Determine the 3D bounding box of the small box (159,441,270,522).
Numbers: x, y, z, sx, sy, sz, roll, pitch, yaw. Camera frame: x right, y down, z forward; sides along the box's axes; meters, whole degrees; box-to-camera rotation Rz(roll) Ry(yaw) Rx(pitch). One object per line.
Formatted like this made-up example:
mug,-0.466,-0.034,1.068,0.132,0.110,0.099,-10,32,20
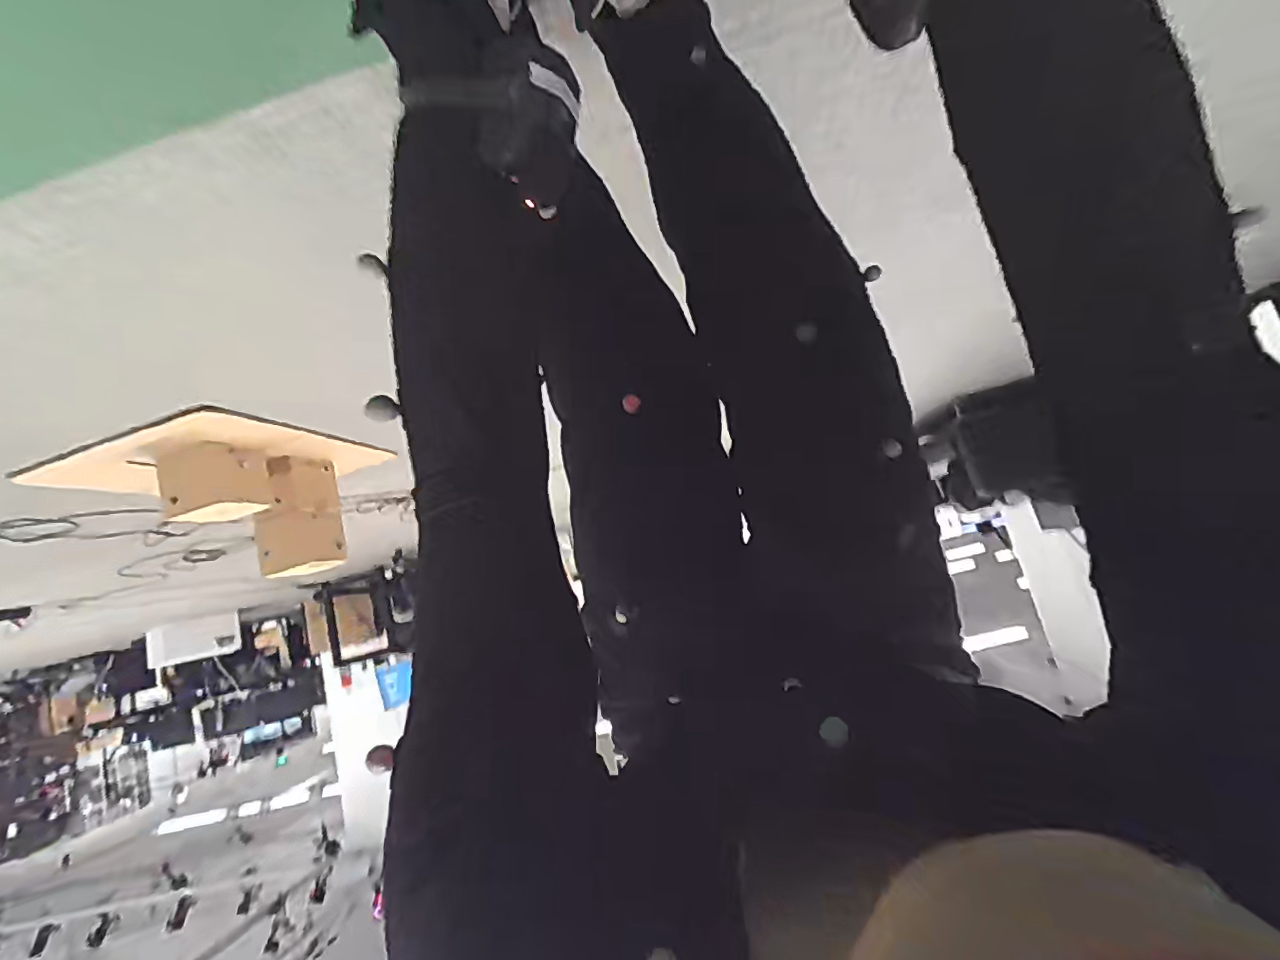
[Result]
small box,-1.142,0.008,1.452,0.179,0.176,0.168,-17,172,9

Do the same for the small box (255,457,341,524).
small box,-1.083,0.035,1.694,0.179,0.176,0.168,-16,171,14
